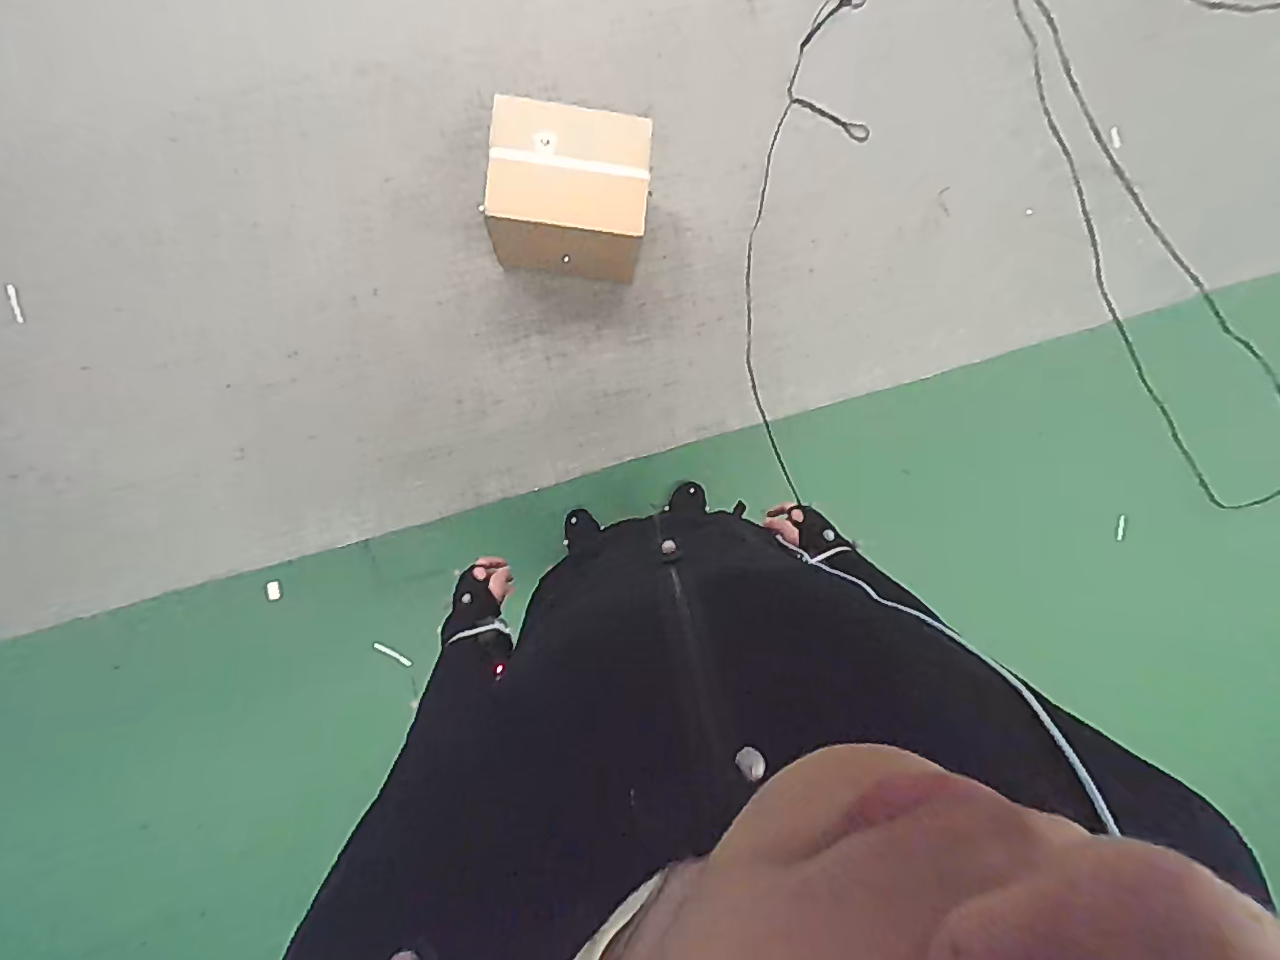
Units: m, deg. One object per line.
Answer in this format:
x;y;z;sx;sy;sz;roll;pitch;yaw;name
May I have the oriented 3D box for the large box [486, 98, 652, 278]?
-0.188;-0.787;1.509;0.408;0.320;0.320;5;87;-5;large box
